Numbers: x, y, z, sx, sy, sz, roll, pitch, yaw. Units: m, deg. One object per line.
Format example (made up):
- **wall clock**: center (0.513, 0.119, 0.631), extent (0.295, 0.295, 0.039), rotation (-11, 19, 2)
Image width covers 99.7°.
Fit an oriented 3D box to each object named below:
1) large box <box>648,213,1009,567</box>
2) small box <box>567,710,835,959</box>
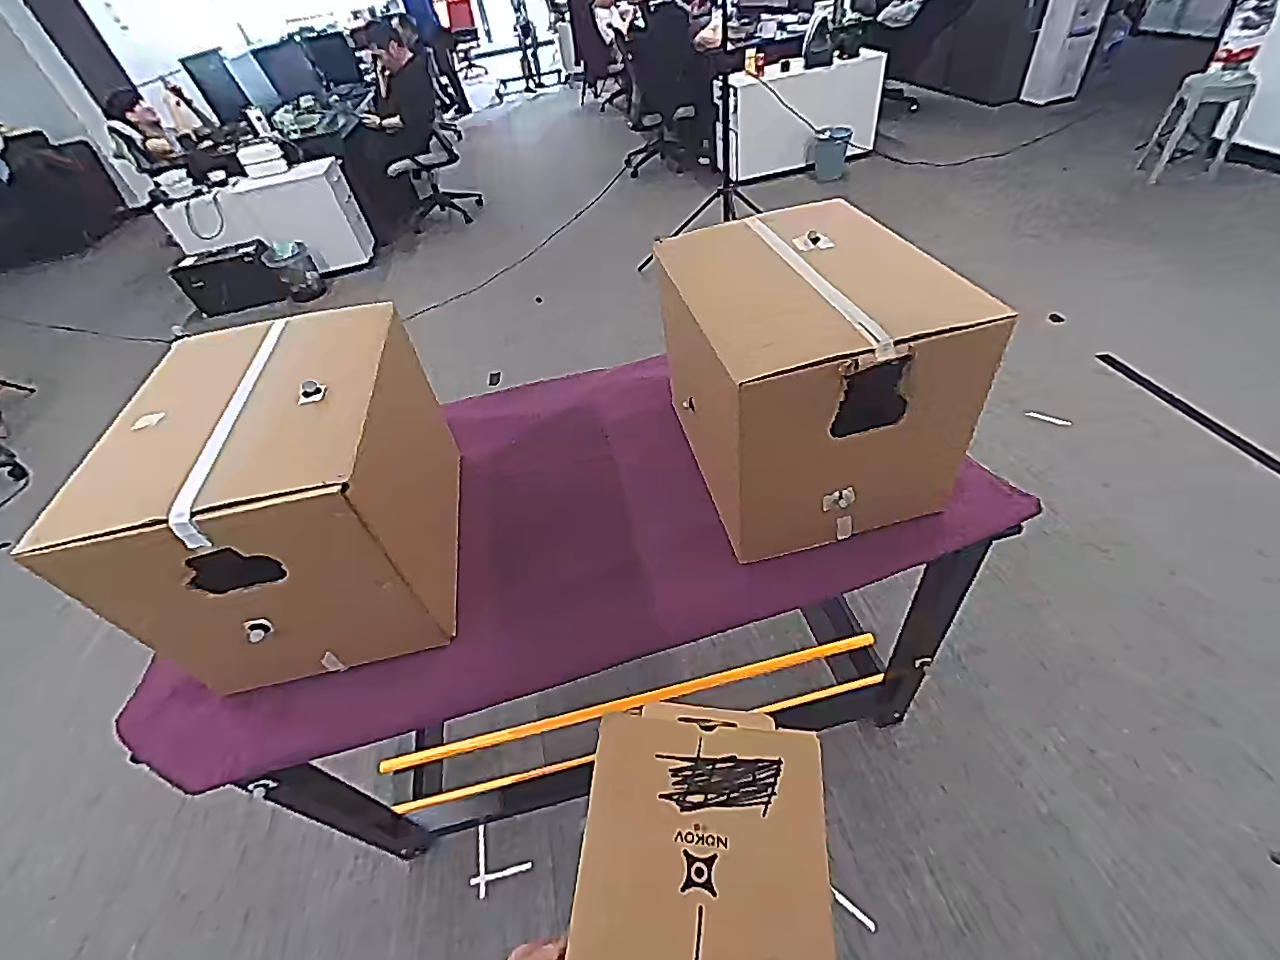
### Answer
- **large box**: center (0.225, -0.146, 0.802), extent (0.320, 0.320, 0.408), rotation (-14, 43, -4)
- **small box**: center (0.050, 0.304, 0.425), extent (0.168, 0.176, 0.179), rotation (2, 51, 9)
